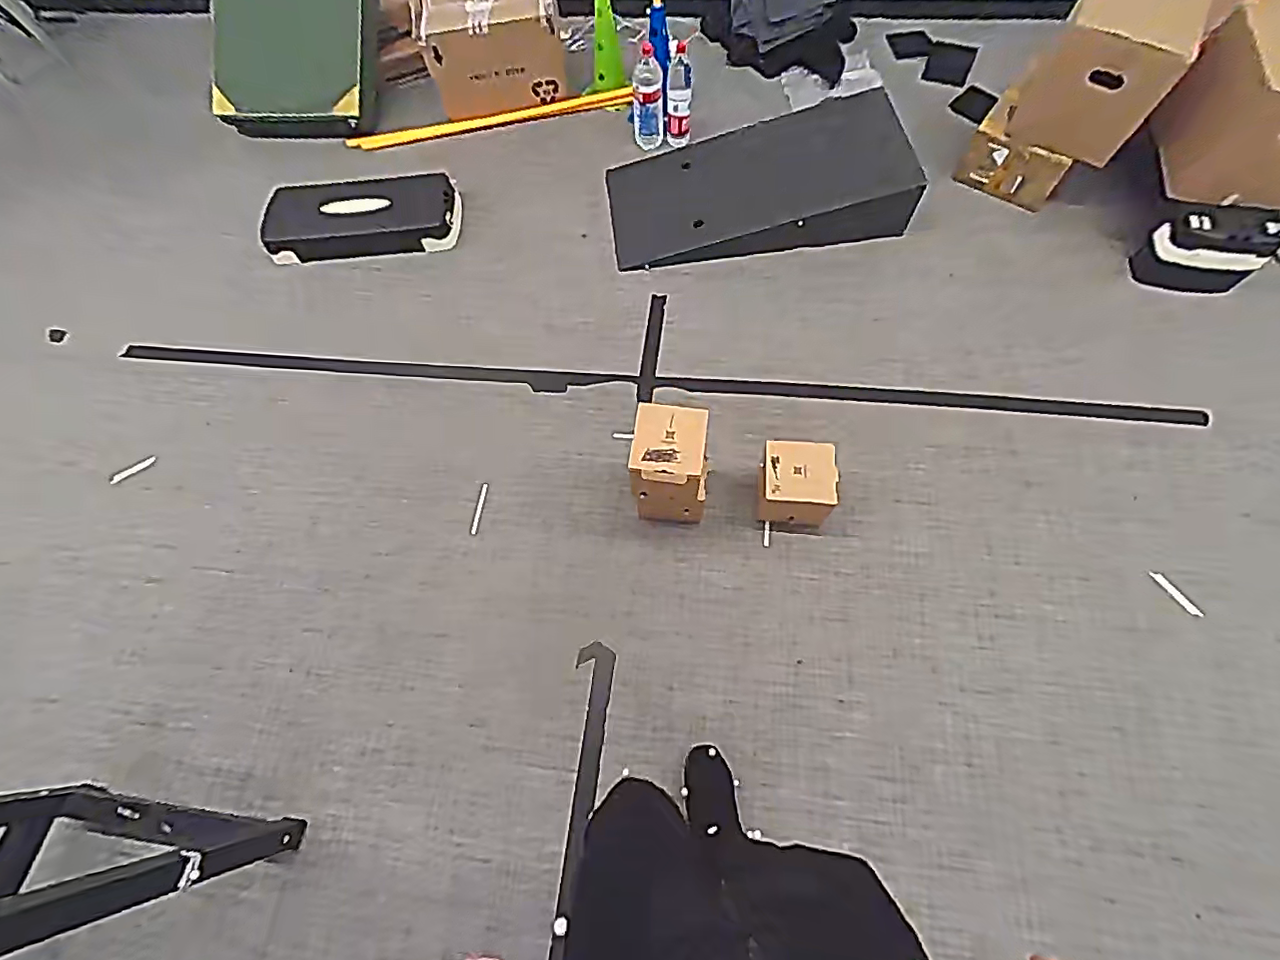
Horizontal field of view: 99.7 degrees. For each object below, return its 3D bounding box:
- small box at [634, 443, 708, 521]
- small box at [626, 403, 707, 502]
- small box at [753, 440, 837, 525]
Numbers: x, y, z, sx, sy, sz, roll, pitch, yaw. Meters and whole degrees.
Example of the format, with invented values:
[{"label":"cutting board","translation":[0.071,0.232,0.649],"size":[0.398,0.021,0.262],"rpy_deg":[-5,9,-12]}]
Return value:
[{"label":"small box","translation":[0.082,0.003,1.434],"size":[0.179,0.176,0.168],"rpy_deg":[4,67,5]},{"label":"small box","translation":[0.065,-0.060,1.283],"size":[0.168,0.176,0.179],"rpy_deg":[7,66,5]},{"label":"small box","translation":[0.401,0.013,1.414],"size":[0.179,0.176,0.168],"rpy_deg":[5,67,4]}]
